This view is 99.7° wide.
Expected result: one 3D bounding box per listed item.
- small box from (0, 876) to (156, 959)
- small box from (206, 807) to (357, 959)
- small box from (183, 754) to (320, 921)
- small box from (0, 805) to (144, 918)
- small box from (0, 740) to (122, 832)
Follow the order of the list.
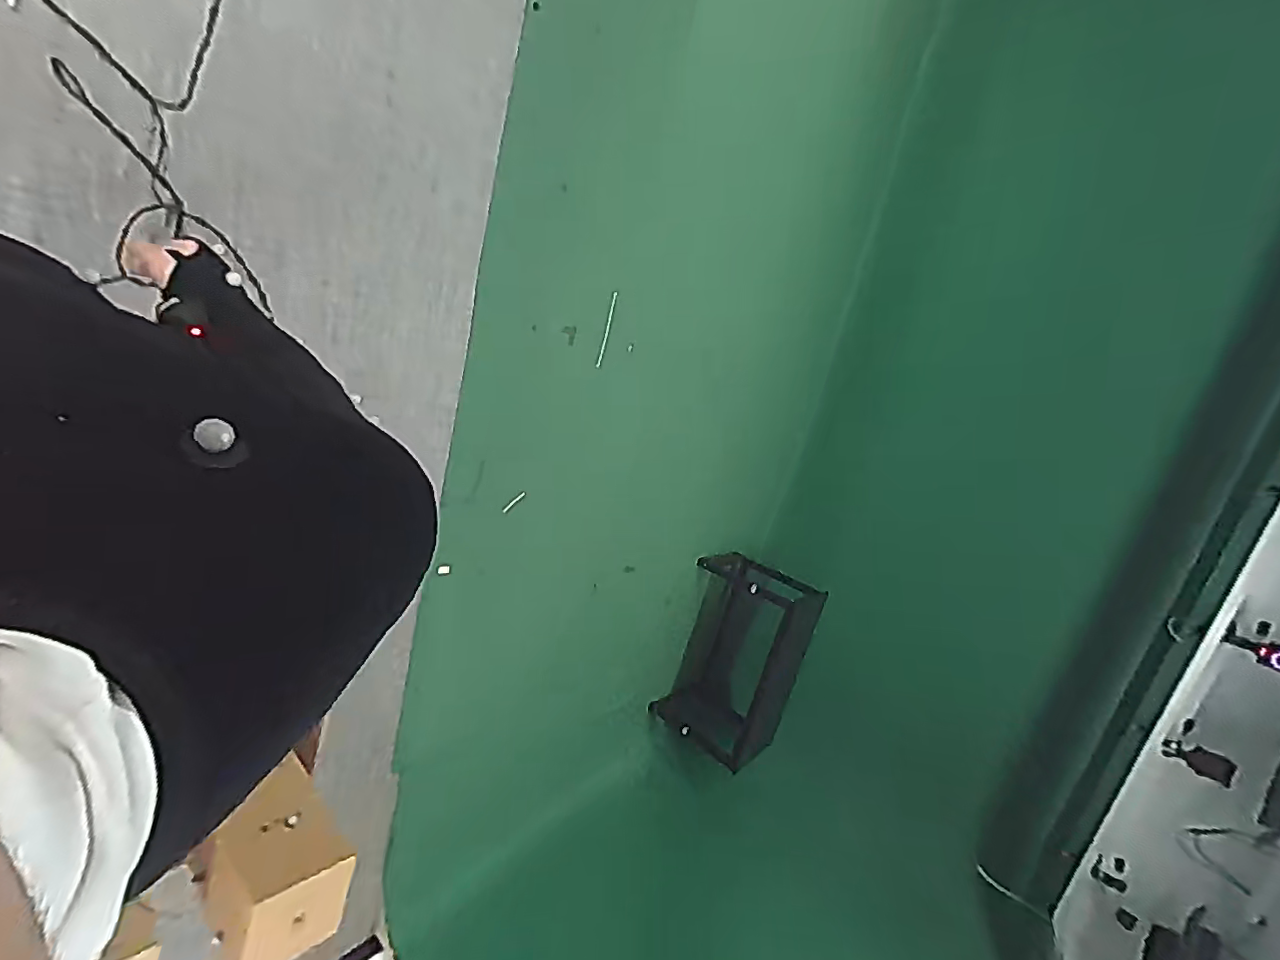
[{"bbox_3d":[-0.798,0.705,0.738,0.168,0.176,0.179,7,103,-54],"label":"small box"},{"bbox_3d":[-0.639,0.734,0.959,0.168,0.176,0.179,6,105,-55],"label":"small box"},{"bbox_3d":[-0.761,0.681,1.054,0.168,0.176,0.179,4,106,-54],"label":"small box"},{"bbox_3d":[-0.913,0.647,0.840,0.168,0.176,0.179,8,103,-54],"label":"small box"},{"bbox_3d":[-1.036,0.594,0.935,0.168,0.176,0.179,7,103,-54],"label":"small box"}]
